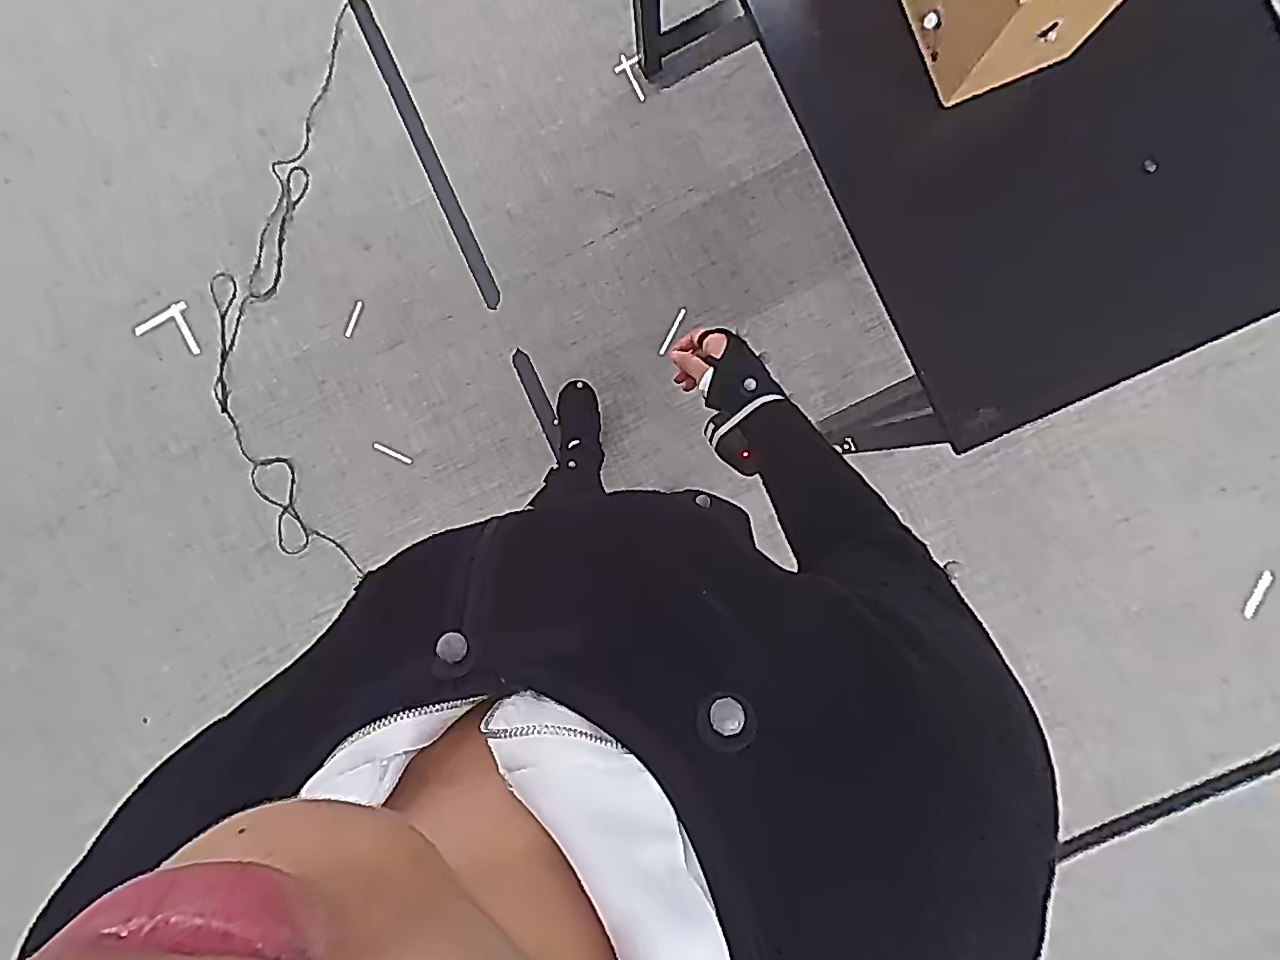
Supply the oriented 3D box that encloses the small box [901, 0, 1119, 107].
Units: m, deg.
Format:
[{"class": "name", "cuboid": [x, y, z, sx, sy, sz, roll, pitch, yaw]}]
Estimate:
[{"class": "small box", "cuboid": [0.456, -0.606, 0.653, 0.179, 0.176, 0.168, -21, 90, 3]}]
